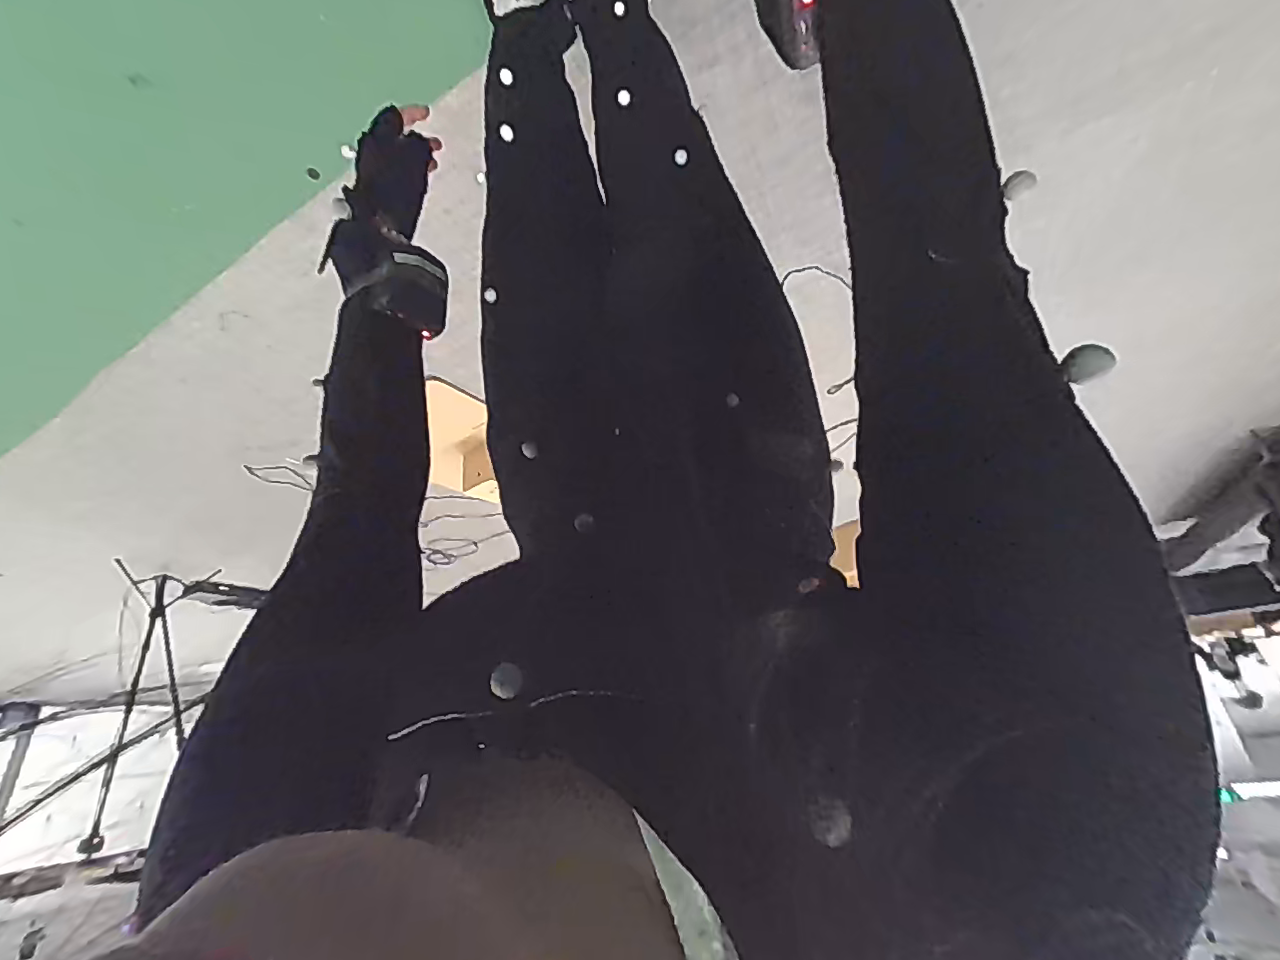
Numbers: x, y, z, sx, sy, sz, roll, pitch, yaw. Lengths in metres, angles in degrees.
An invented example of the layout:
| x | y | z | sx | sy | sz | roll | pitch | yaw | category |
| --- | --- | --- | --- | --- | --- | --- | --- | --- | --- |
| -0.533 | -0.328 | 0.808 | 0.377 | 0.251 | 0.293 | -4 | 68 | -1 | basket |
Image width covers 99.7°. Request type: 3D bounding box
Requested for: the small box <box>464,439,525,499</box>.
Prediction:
| x | y | z | sx | sy | sz | roll | pitch | yaw | category |
| --- | --- | --- | --- | --- | --- | --- | --- | --- | --- |
| -0.572 | -0.044 | 2.114 | 0.179 | 0.176 | 0.168 | -22 | 152 | 32 | small box |
